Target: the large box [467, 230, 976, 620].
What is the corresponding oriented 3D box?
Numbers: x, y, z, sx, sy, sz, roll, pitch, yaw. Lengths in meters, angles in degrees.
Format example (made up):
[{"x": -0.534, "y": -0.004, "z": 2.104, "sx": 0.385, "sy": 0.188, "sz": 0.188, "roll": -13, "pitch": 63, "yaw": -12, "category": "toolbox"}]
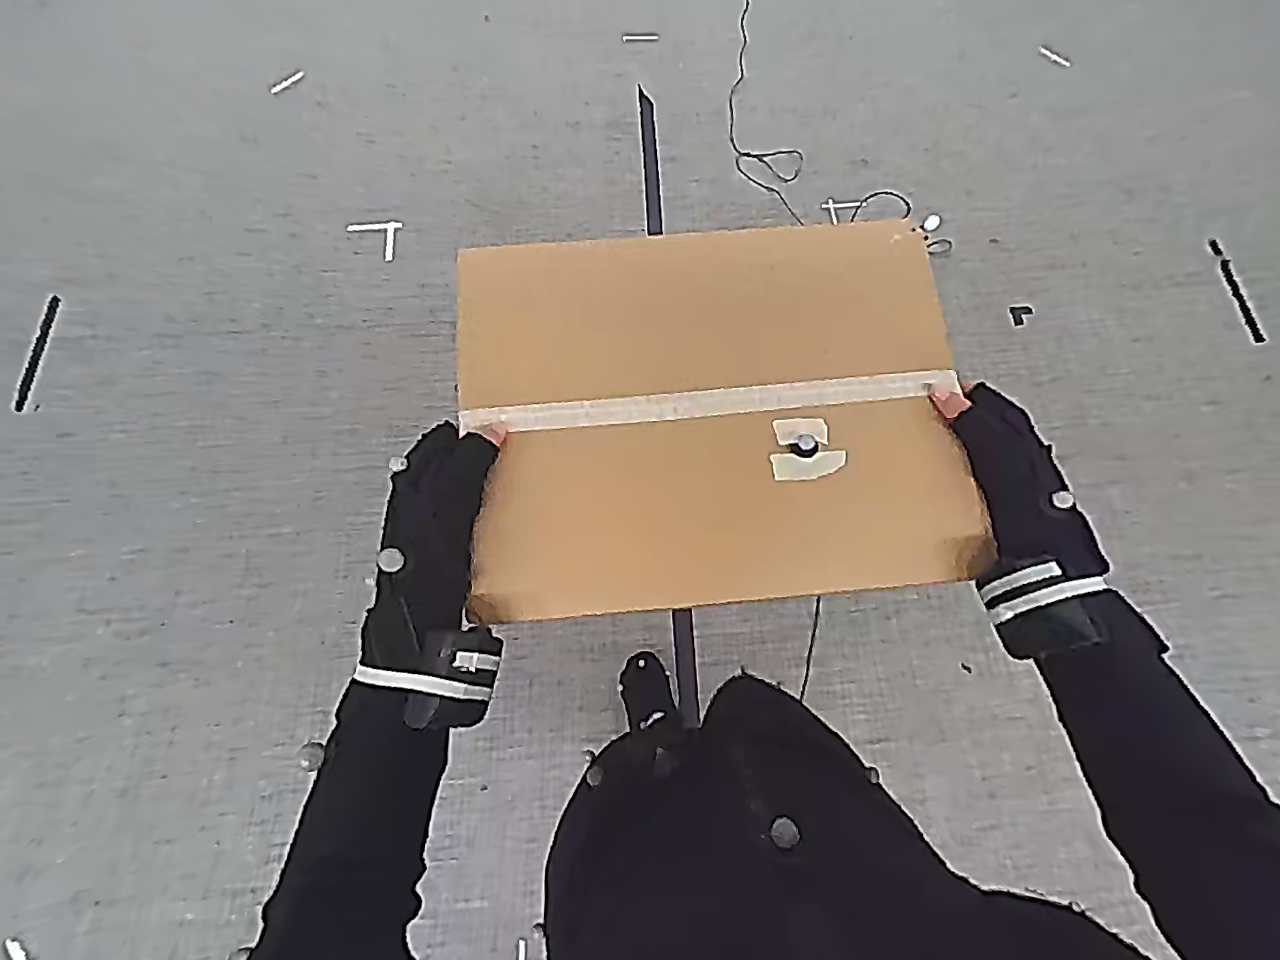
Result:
[{"x": 0.054, "y": -0.028, "z": 0.601, "sx": 0.408, "sy": 0.320, "sz": 0.320, "roll": -5, "pitch": 78, "yaw": -2, "category": "large box"}]
